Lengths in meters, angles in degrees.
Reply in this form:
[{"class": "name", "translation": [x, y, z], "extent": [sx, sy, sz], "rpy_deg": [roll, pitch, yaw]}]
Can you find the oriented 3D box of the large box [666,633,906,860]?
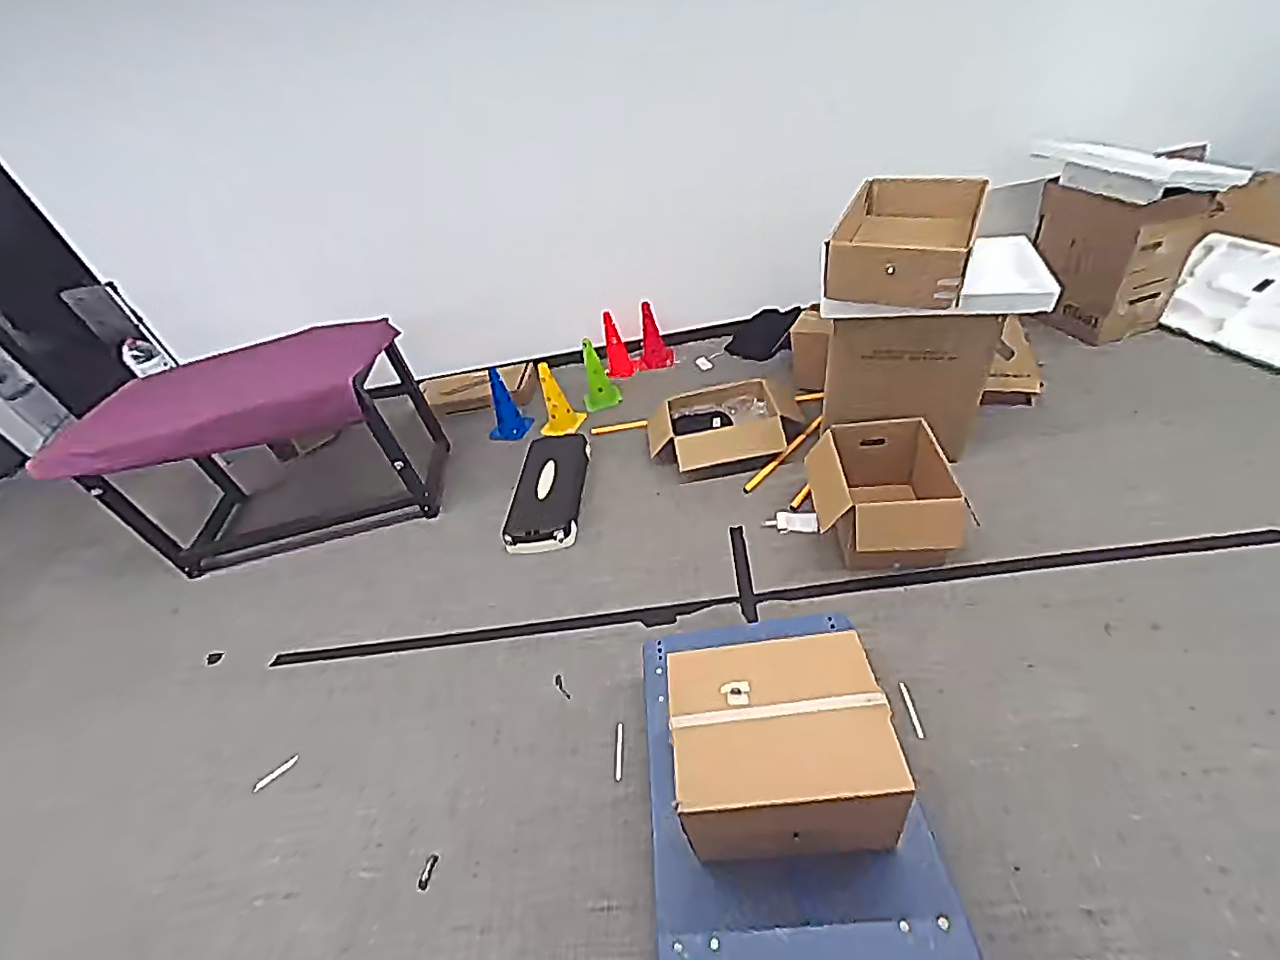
[{"class": "large box", "translation": [0.289, 0.569, 1.149], "extent": [0.408, 0.320, 0.320], "rpy_deg": [-10, 39, 7]}]
